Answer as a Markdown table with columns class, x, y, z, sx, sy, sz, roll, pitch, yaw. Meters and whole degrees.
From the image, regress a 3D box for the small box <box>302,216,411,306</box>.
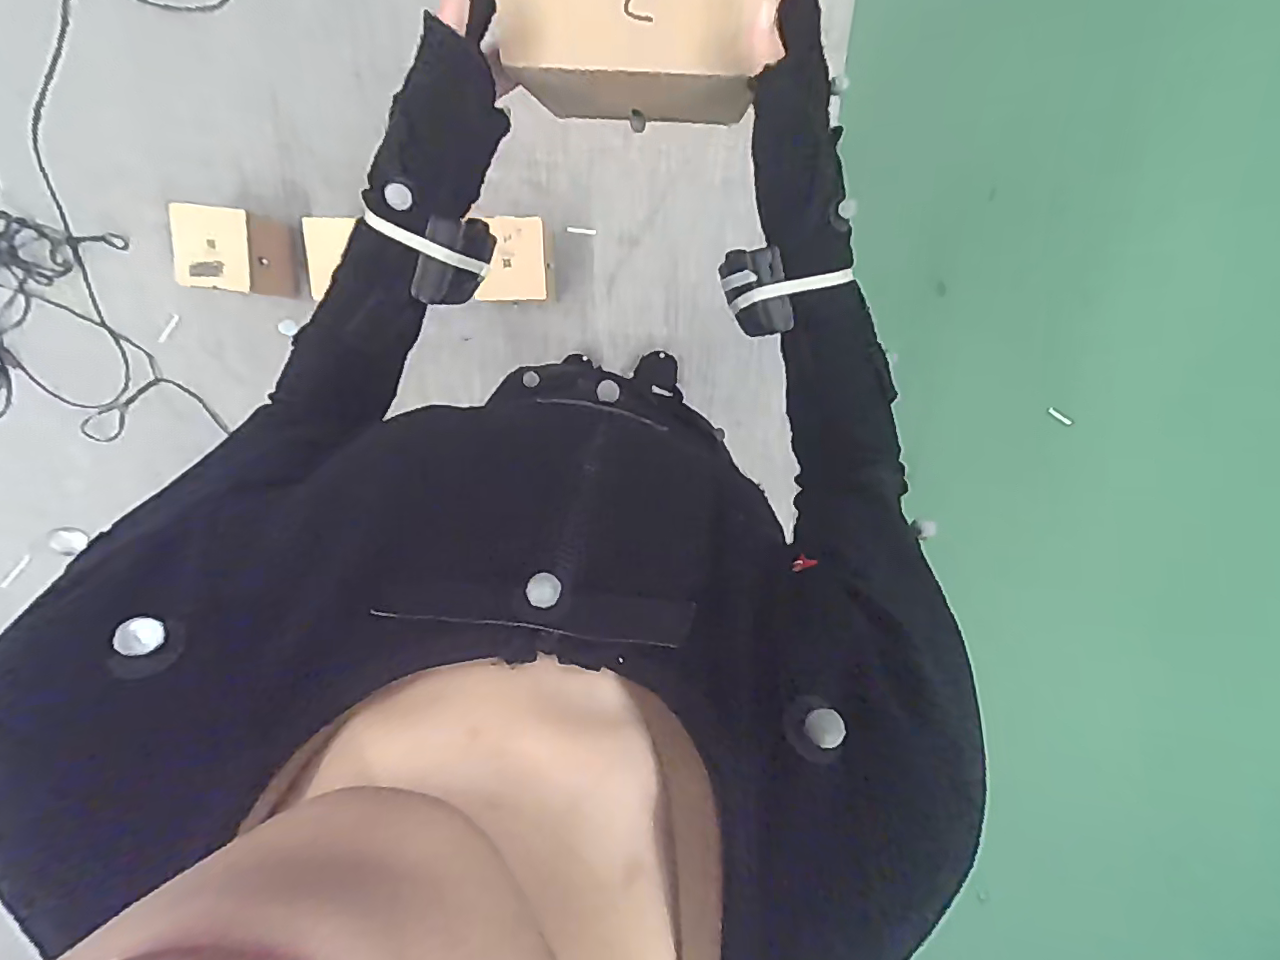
| class | x | y | z | sx | sy | sz | roll | pitch | yaw |
| --- | --- | --- | --- | --- | --- | --- | --- | --- | --- |
| small box | -0.660 | -0.511 | 1.279 | 0.168 | 0.176 | 0.179 | 0 | 105 | -1 |

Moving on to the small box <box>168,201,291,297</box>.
| class | x | y | z | sx | sy | sz | roll | pitch | yaw |
| --- | --- | --- | --- | --- | --- | --- | --- | --- | --- |
| small box | -0.950 | -0.532 | 1.269 | 0.168 | 0.176 | 0.179 | 5 | 103 | -2 |

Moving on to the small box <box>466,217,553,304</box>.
| class | x | y | z | sx | sy | sz | roll | pitch | yaw |
| --- | --- | --- | --- | --- | --- | --- | --- | --- | --- |
| small box | -0.301 | -0.512 | 1.282 | 0.168 | 0.176 | 0.179 | -1 | 104 | -1 |
